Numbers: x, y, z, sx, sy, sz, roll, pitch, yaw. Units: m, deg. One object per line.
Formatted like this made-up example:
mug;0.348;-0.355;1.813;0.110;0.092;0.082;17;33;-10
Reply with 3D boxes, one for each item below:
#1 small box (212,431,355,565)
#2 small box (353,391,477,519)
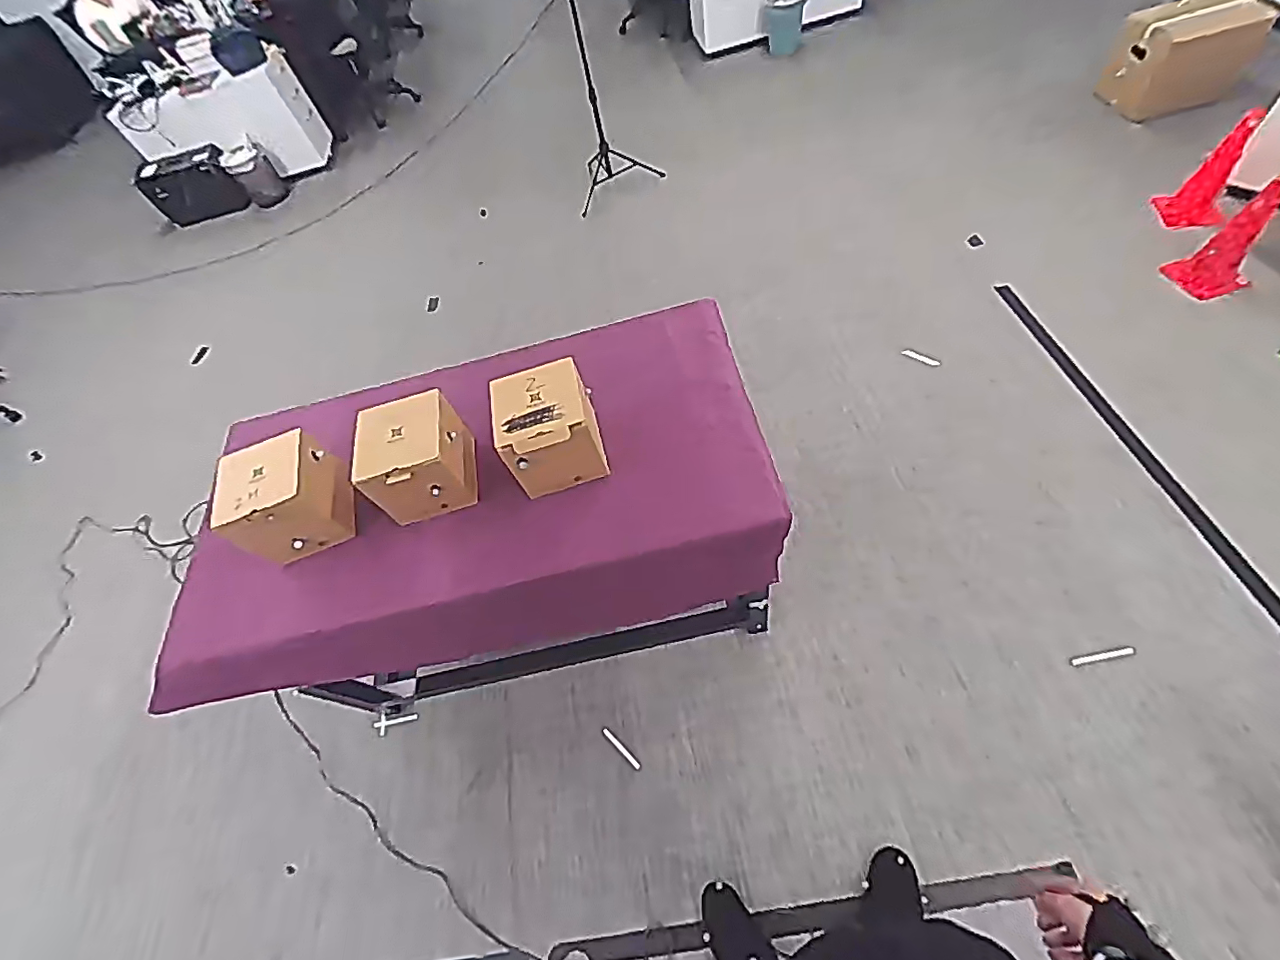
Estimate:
small box;-0.689;0.039;1.067;0.168;0.176;0.179;-22;57;-1
small box;-0.431;-0.039;1.061;0.168;0.176;0.179;-16;56;2
